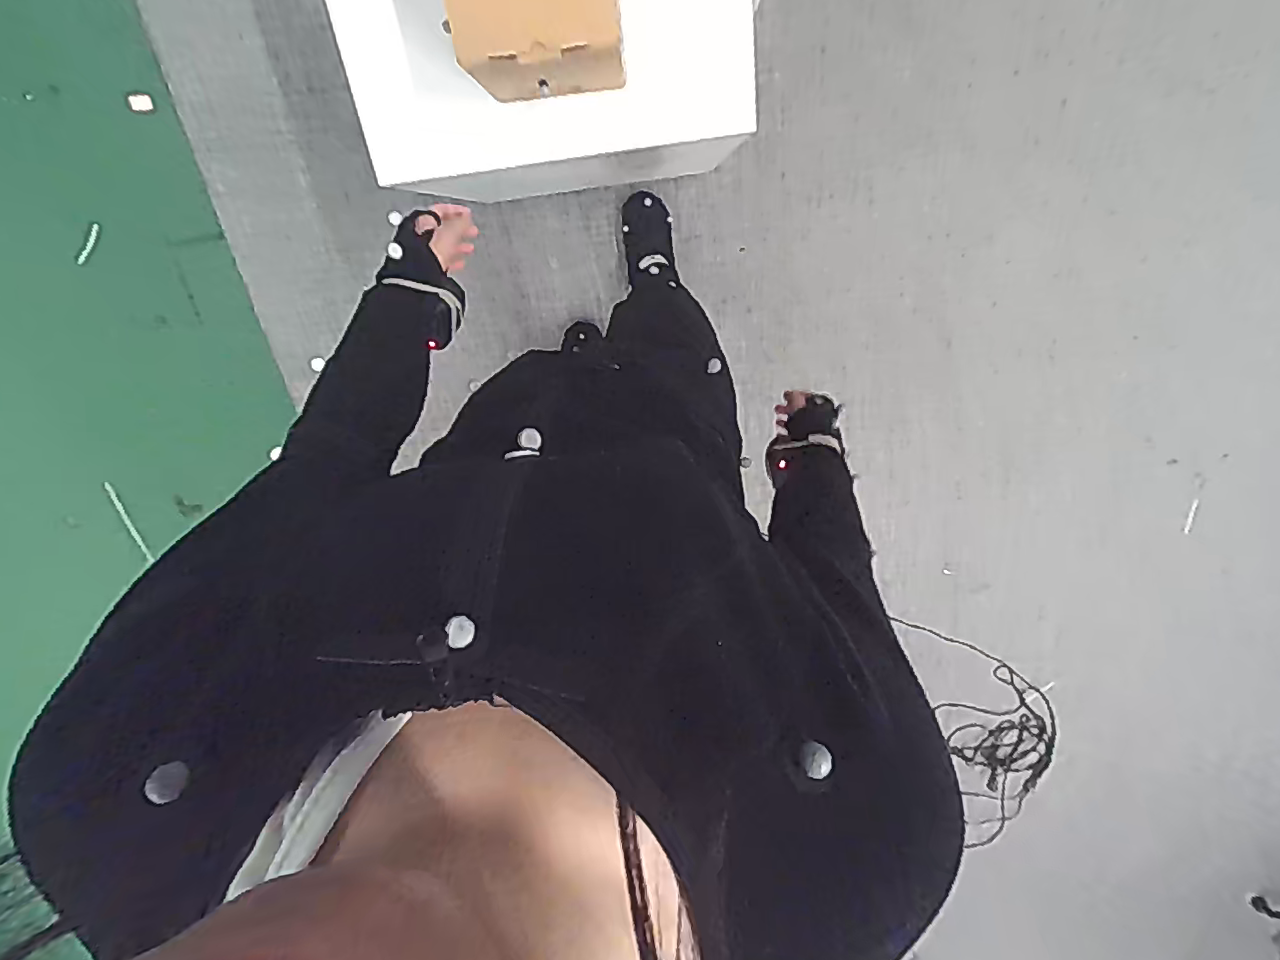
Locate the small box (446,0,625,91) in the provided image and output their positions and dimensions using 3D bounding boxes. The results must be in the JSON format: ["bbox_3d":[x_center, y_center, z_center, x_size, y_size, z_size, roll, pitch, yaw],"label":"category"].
[{"bbox_3d":[-0.106,-0.534,0.558,0.168,0.176,0.179,-5,115,3],"label":"small box"}]
